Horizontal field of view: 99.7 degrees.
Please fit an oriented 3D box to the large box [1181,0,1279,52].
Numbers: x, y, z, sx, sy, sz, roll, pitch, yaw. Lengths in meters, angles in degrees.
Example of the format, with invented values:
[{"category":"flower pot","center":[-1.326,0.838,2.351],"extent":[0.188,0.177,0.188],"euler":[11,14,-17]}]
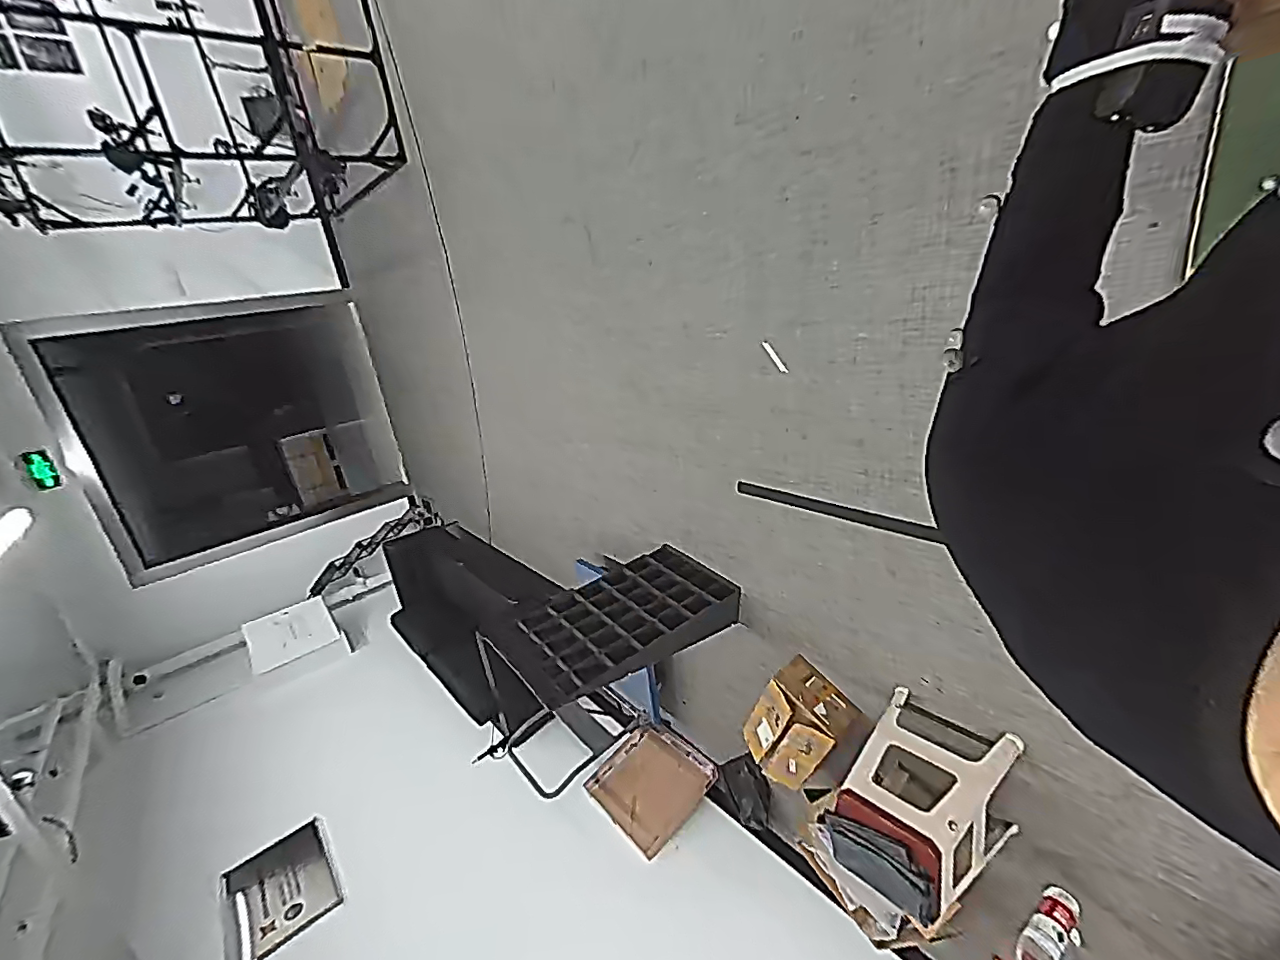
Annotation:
[{"category":"large box","center":[0.581,-0.494,0.267],"extent":[0.408,0.320,0.320],"euler":[11,121,49]}]
